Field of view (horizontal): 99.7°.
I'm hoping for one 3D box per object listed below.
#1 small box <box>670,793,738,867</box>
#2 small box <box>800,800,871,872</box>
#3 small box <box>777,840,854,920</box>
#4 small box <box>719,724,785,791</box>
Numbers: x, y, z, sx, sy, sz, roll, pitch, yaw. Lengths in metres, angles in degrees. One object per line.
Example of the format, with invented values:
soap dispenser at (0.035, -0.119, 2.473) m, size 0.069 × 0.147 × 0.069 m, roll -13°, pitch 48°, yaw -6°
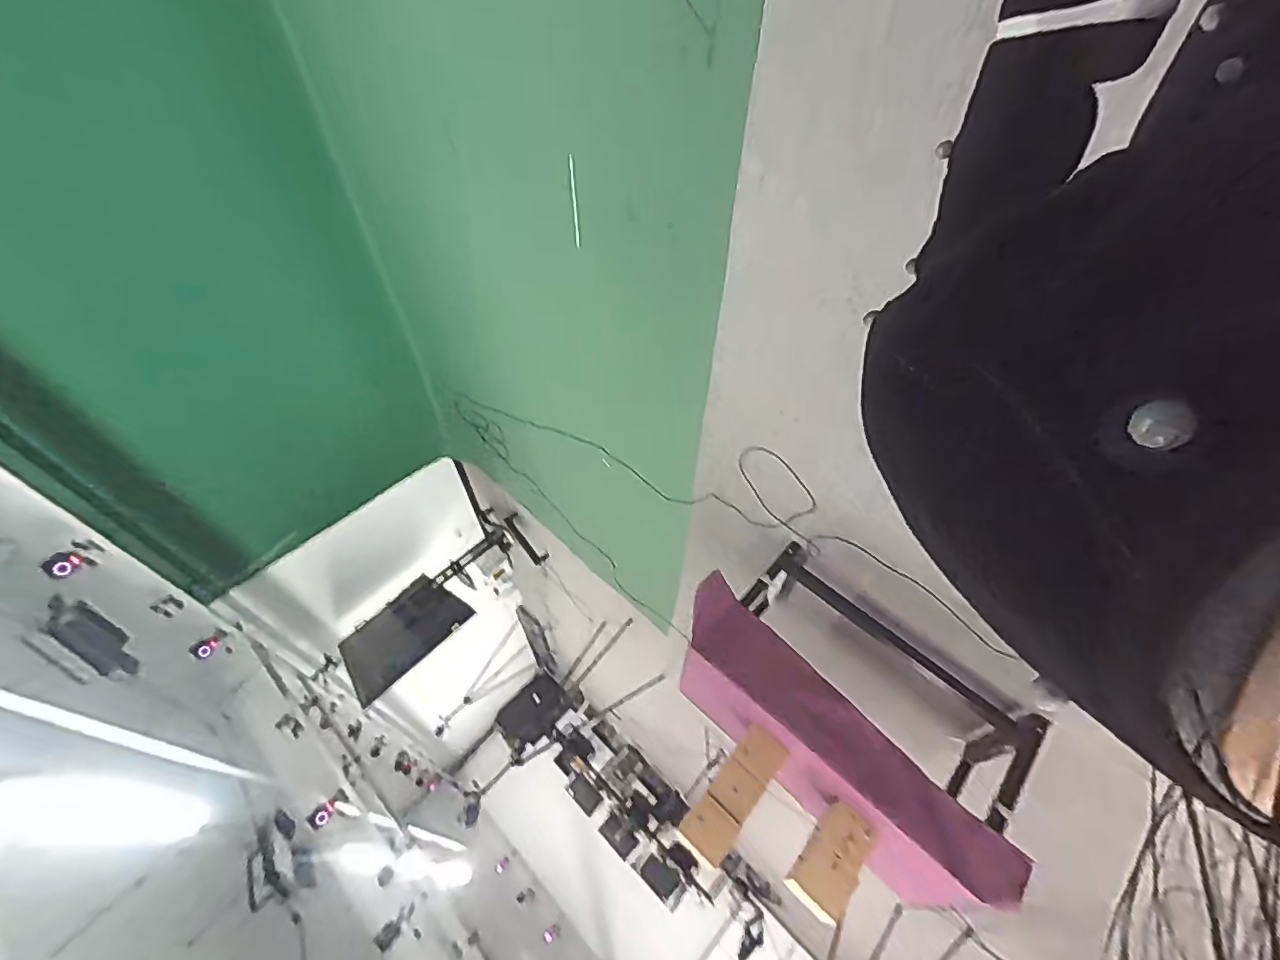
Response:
small box at (0.237, 1.302, 2.023) m, size 0.179 × 0.176 × 0.168 m, roll 38°, pitch 151°, yaw 22°
small box at (0.738, 1.336, 2.033) m, size 0.168 × 0.176 × 0.179 m, roll 38°, pitch 151°, yaw 24°
small box at (0.633, 1.435, 1.952) m, size 0.179 × 0.176 × 0.168 m, roll 39°, pitch 151°, yaw 23°
small box at (0.452, 1.116, 2.187) m, size 0.179 × 0.176 × 0.168 m, roll 39°, pitch 151°, yaw 22°
